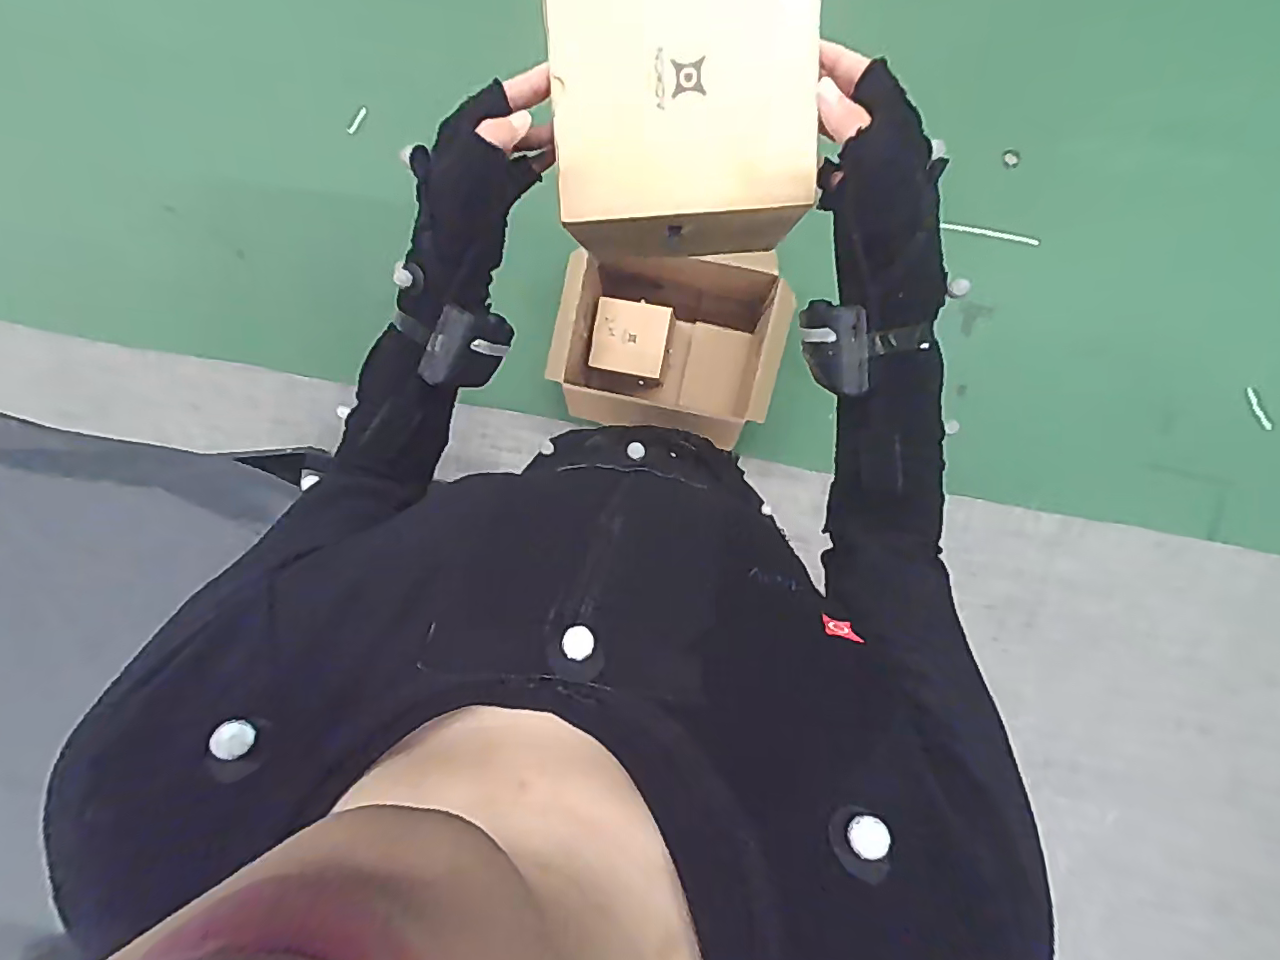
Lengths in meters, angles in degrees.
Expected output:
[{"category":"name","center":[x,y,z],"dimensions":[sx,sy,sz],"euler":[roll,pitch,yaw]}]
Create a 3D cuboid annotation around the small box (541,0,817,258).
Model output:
[{"category":"small box","center":[0.031,-0.279,0.427],"dimensions":[0.179,0.176,0.168],"euler":[-2,103,6]}]
